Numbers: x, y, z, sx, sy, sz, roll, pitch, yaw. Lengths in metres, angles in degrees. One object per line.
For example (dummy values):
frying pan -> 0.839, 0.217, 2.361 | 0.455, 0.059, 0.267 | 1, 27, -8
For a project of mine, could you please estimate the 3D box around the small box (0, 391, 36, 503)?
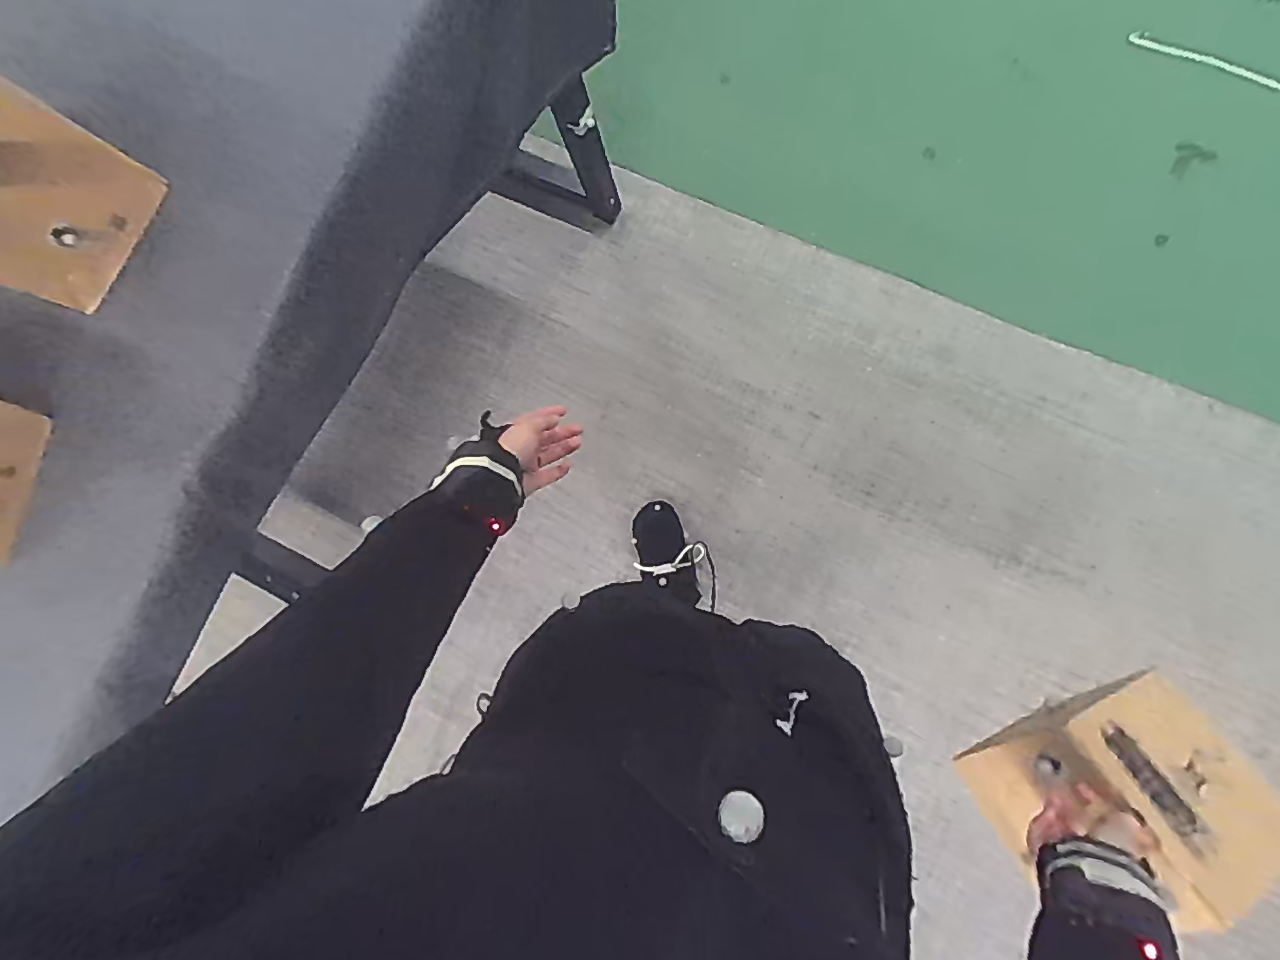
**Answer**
small box -> -0.739, -0.033, 0.497 | 0.179, 0.176, 0.168 | 18, 87, 9

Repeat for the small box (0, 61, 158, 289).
small box -> -0.625, -0.310, 0.502 | 0.179, 0.176, 0.168 | 32, 90, 8
